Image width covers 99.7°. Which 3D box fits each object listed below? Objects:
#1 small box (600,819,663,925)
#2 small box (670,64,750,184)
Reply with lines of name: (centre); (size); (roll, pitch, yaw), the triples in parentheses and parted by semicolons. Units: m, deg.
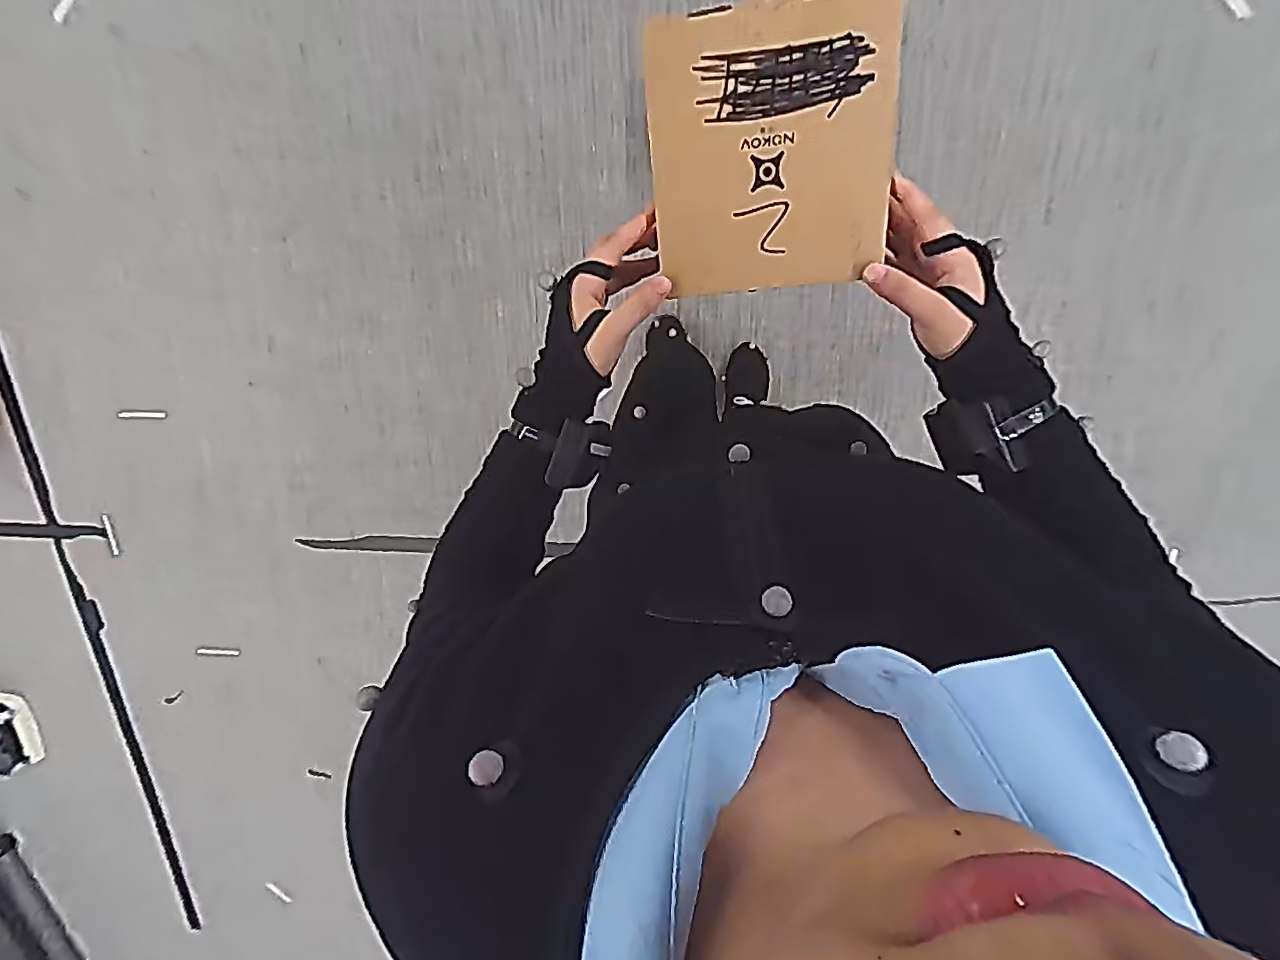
small box: (-0.020, 1.124, 1.556); (0.168, 0.176, 0.179); (3, 106, 3)
small box: (0.151, -0.778, 1.196); (0.168, 0.176, 0.179); (-1, 106, 5)
